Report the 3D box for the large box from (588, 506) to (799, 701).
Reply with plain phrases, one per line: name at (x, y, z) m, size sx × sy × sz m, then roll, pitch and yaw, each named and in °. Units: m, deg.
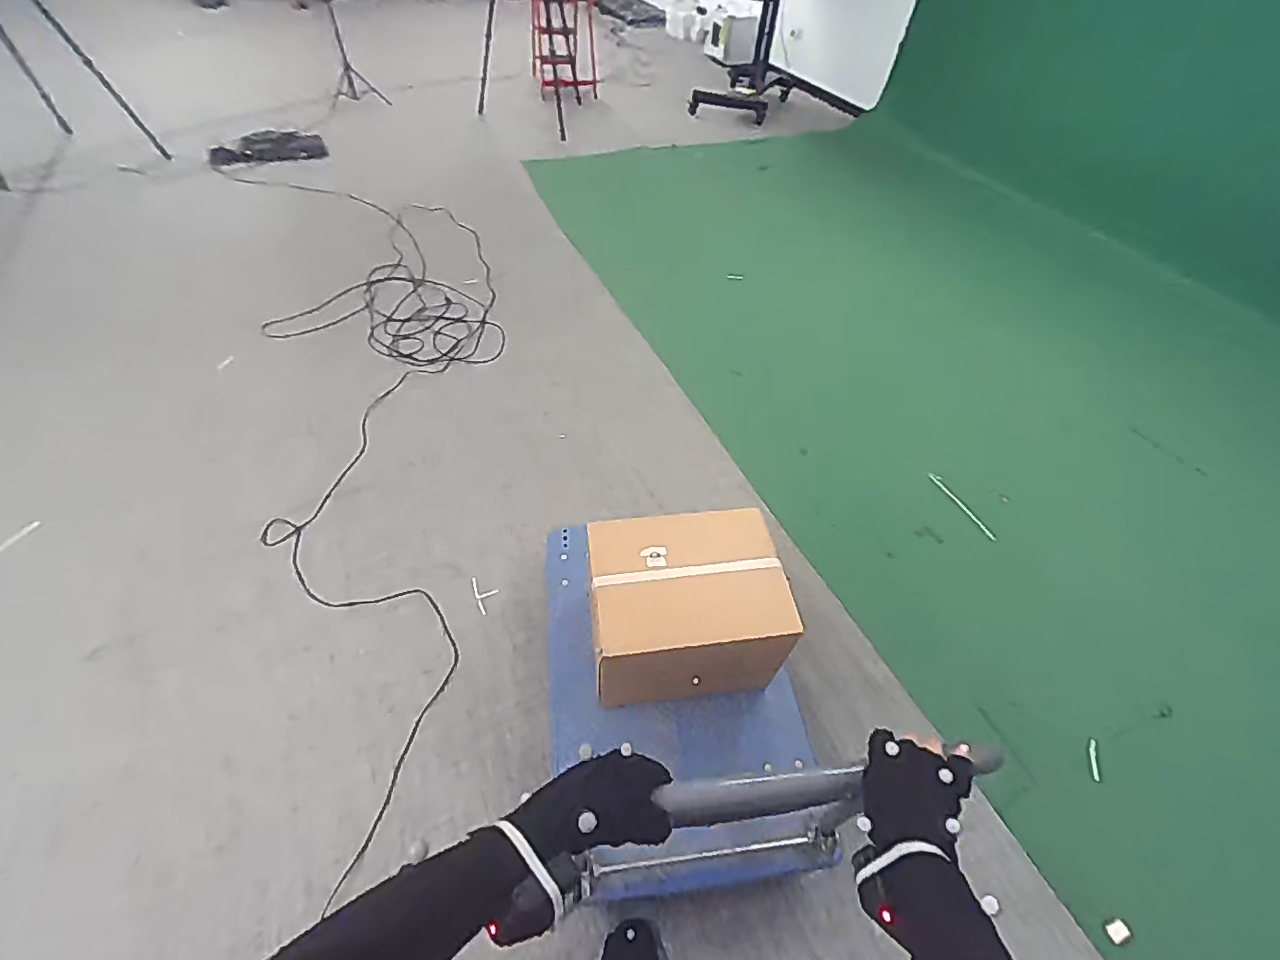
large box at (0.097, 0.290, 1.260) m, size 0.408 × 0.320 × 0.320 m, roll -5°, pitch 51°, yaw -8°
